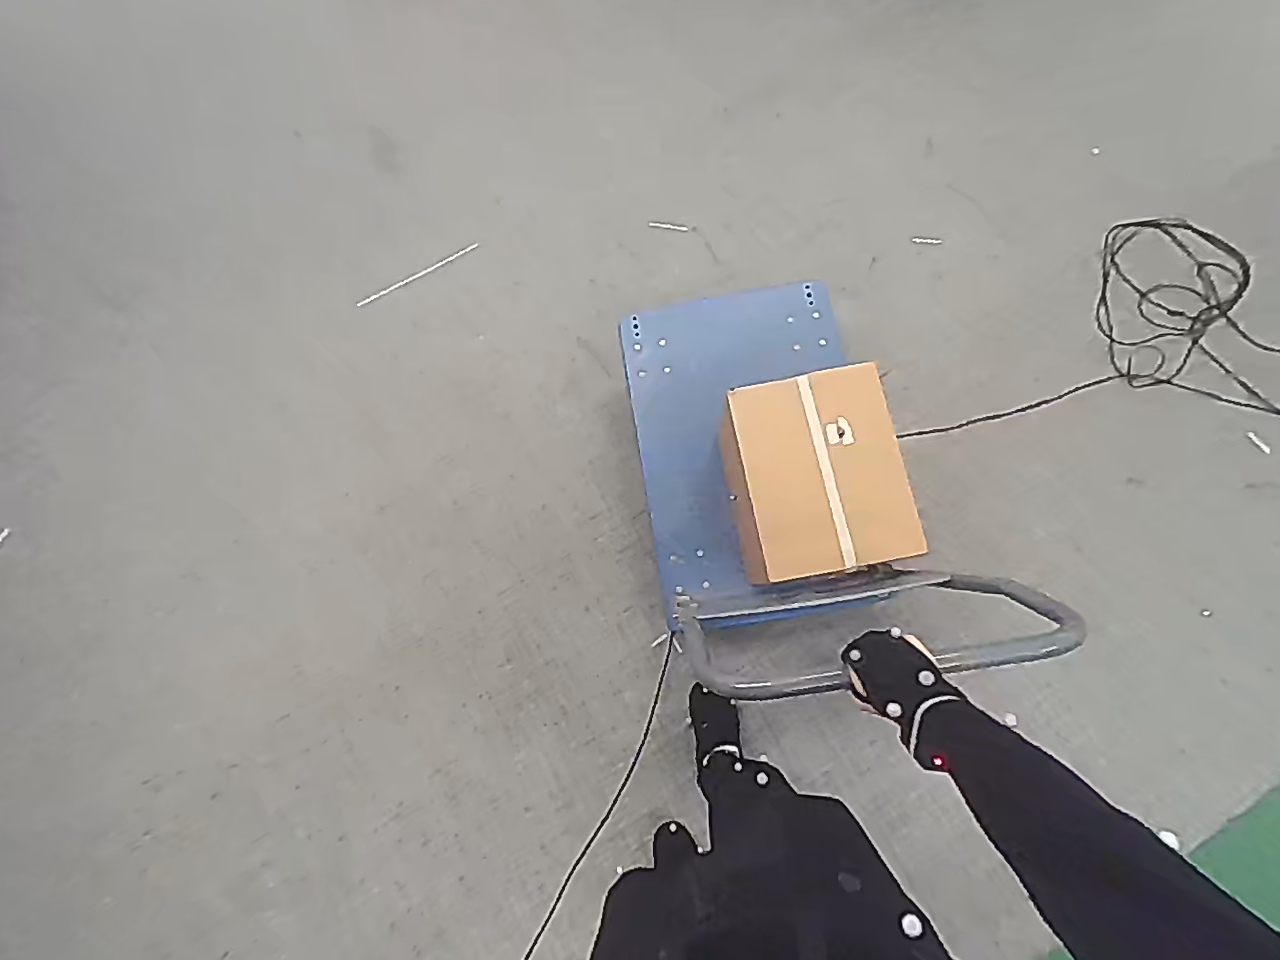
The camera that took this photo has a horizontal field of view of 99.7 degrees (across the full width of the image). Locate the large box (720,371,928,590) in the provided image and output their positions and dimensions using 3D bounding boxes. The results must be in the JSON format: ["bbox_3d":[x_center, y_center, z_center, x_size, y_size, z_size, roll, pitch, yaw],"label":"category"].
[{"bbox_3d":[0.380,0.022,1.227,0.320,0.320,0.408,-10,77,1],"label":"large box"}]
